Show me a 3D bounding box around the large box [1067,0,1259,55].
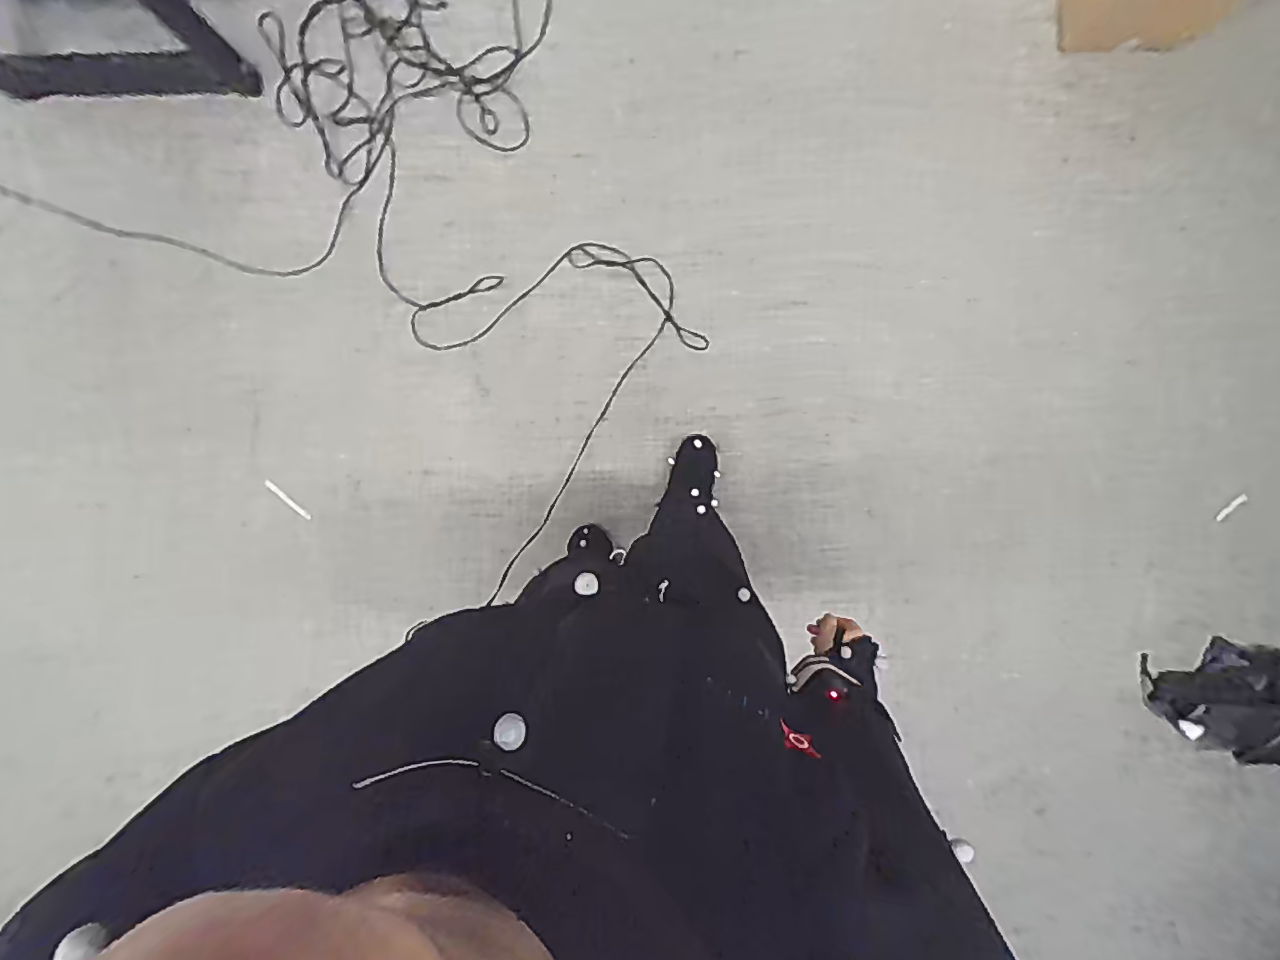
[{"bbox_3d":[1.187,-1.233,1.162,0.320,0.320,0.408,-2,95,0],"label":"large box"}]
